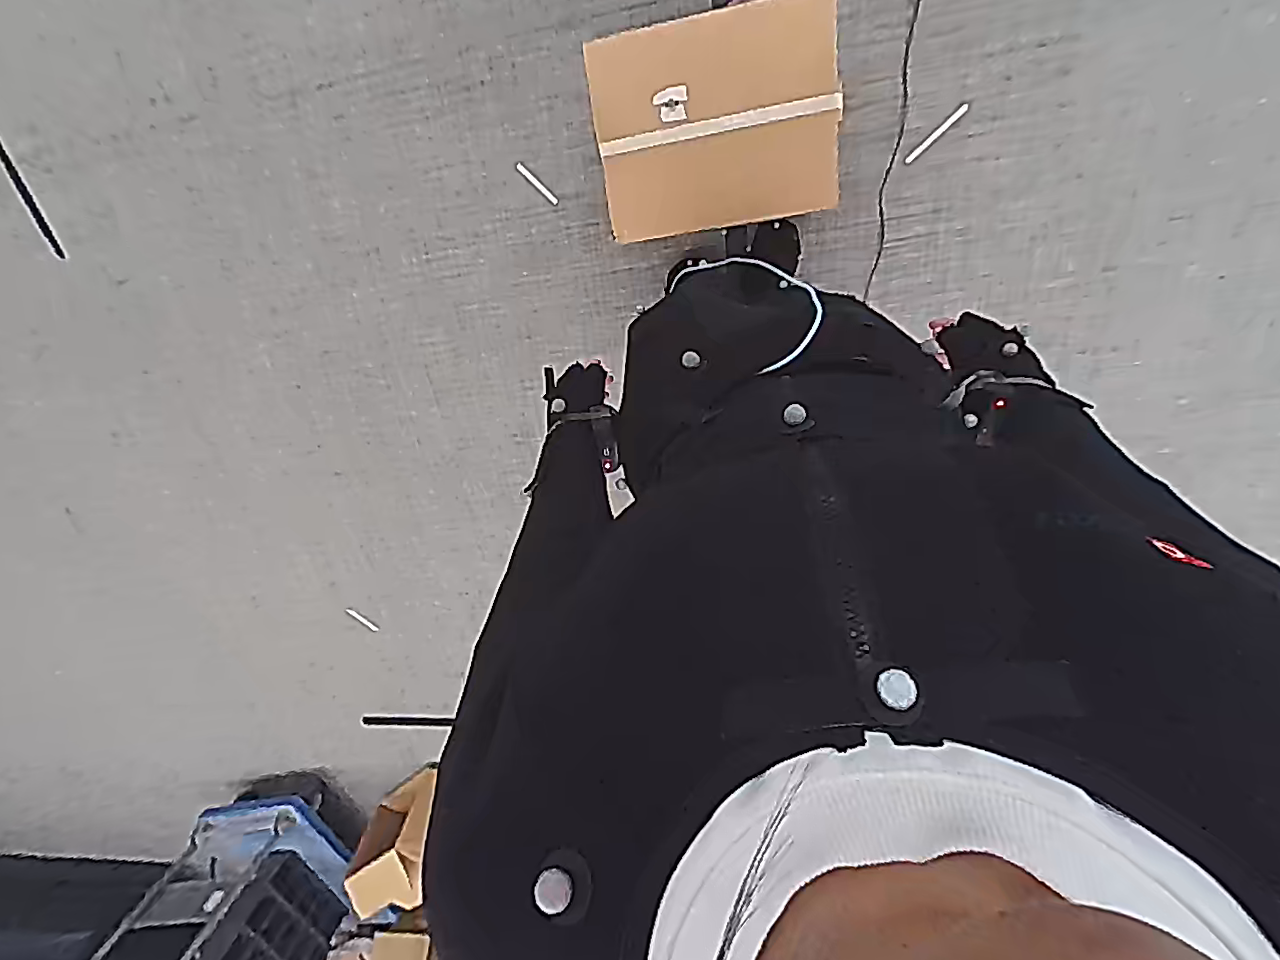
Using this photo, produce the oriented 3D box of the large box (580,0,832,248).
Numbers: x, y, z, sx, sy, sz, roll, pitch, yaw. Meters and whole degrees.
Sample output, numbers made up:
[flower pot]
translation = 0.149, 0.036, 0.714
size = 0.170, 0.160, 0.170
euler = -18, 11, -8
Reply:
[large box]
translation = 0.140, -0.657, 1.050
size = 0.408, 0.320, 0.320
euler = -4, 114, 12
